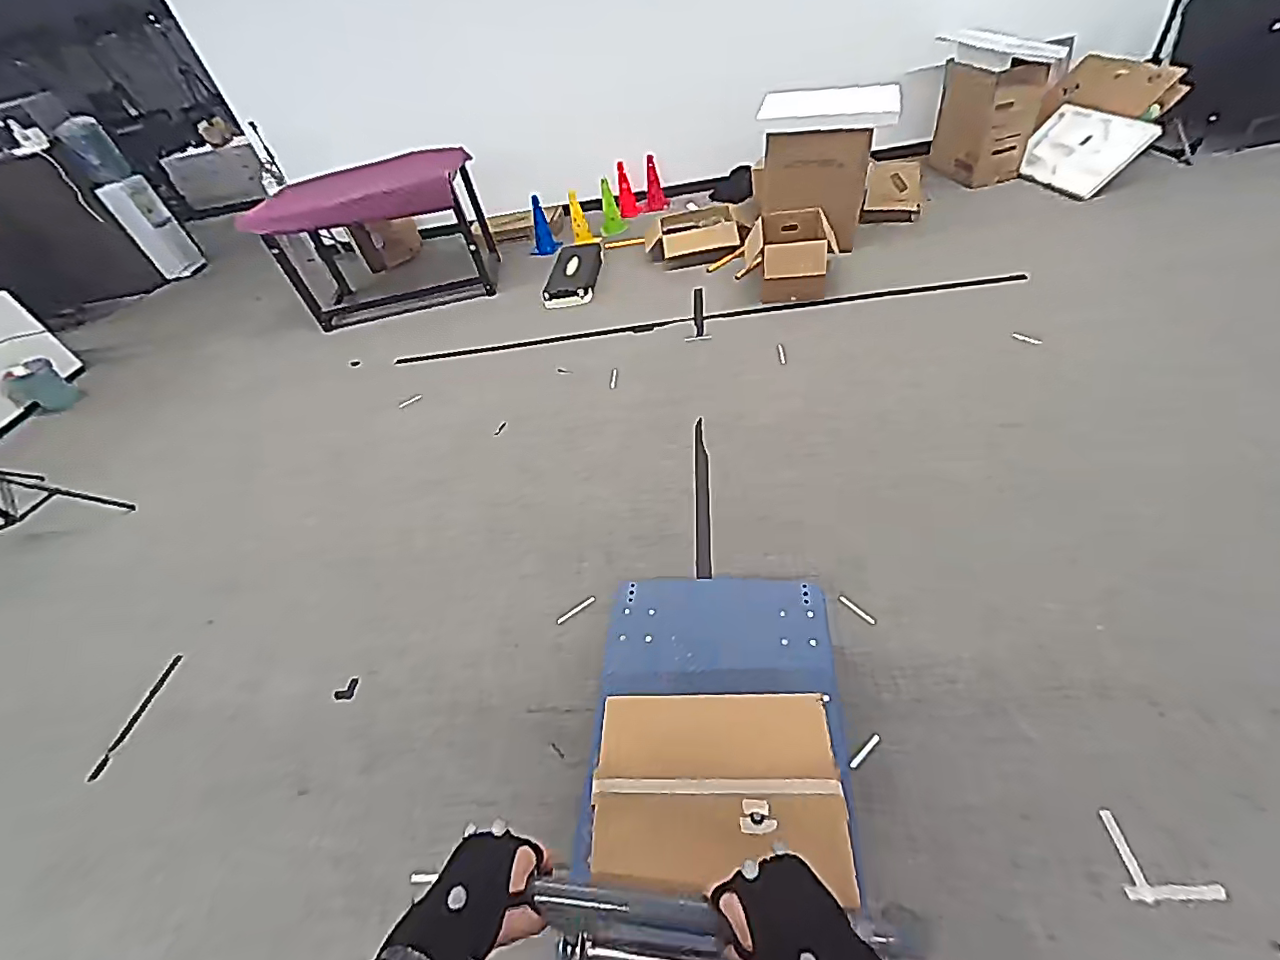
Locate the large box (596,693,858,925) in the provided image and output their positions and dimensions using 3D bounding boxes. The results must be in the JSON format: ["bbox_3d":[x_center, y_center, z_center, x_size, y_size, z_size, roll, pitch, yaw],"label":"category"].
[{"bbox_3d":[0.150,0.624,1.022,0.408,0.320,0.320,-4,45,8],"label":"large box"}]
